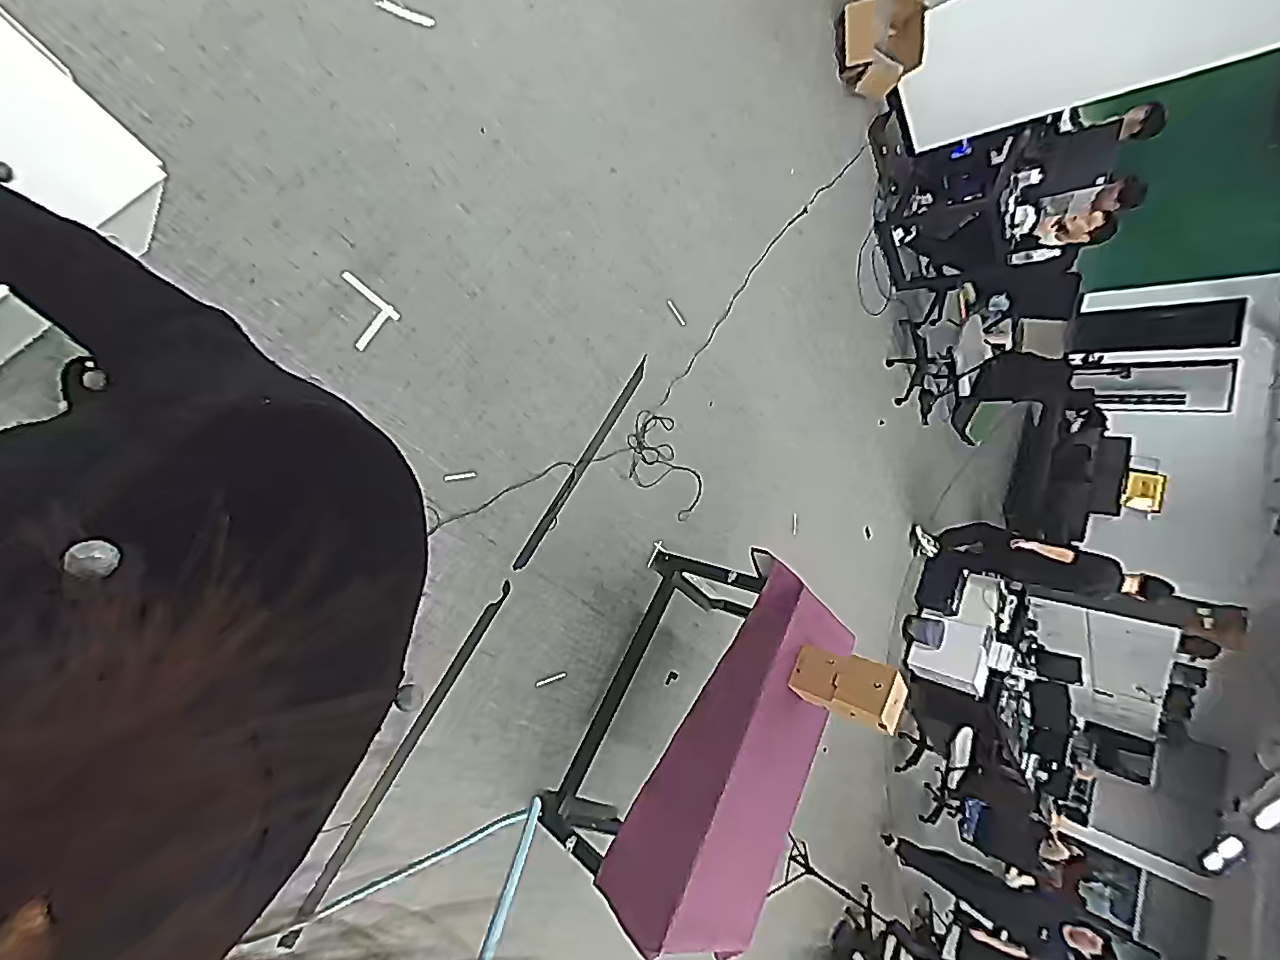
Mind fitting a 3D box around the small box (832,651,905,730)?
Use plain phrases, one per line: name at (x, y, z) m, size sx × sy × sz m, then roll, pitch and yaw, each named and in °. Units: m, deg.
small box at (0.789, 0.720, 1.869) m, size 0.179 × 0.176 × 0.168 m, roll -55°, pitch 129°, yaw -24°
